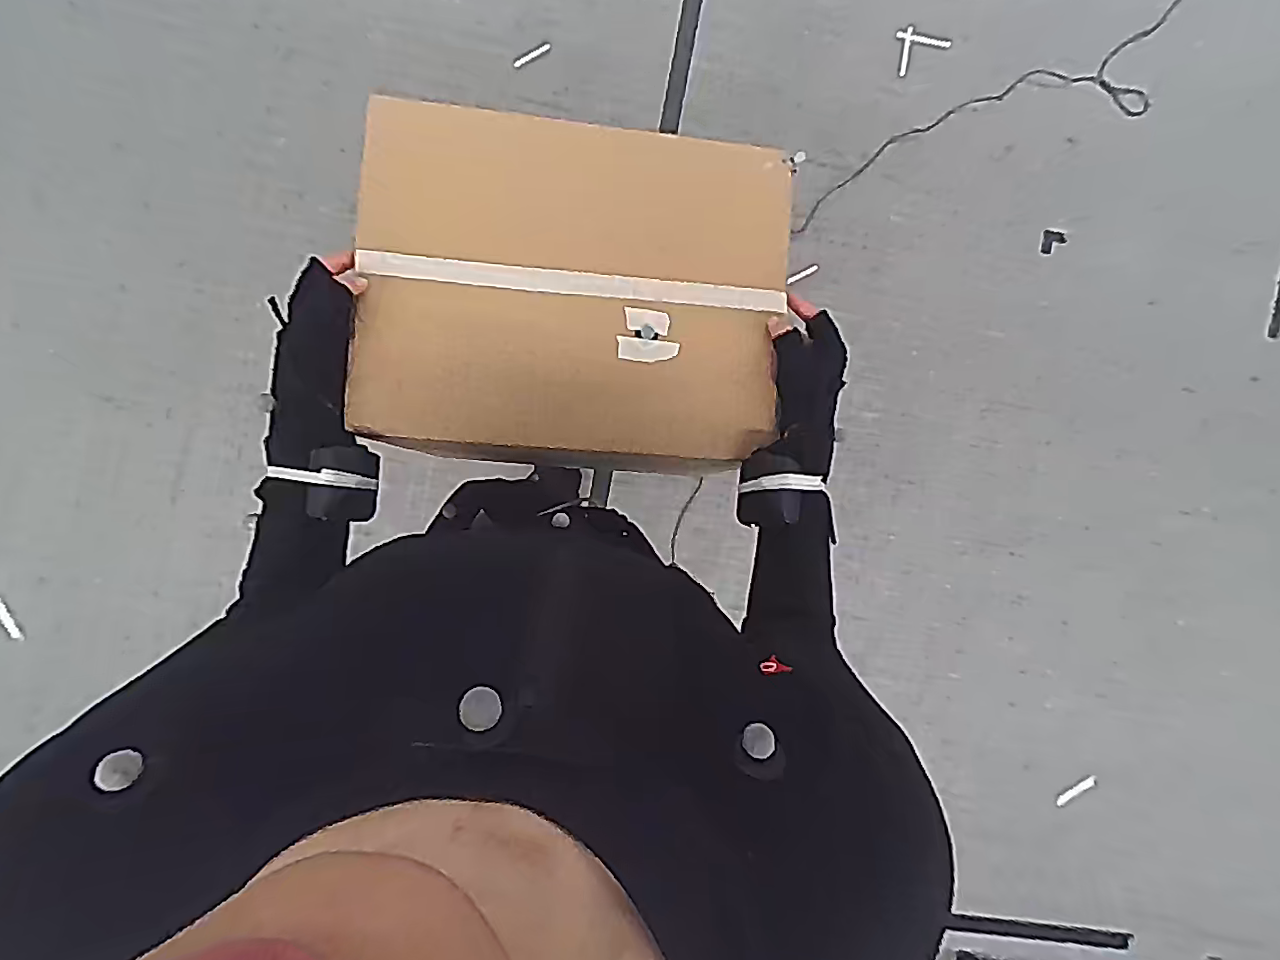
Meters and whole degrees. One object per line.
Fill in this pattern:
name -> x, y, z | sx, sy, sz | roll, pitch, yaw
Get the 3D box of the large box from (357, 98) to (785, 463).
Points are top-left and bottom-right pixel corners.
large box -> -0.076, -0.190, 0.667 | 0.408, 0.320, 0.320 | 4, 89, -7
